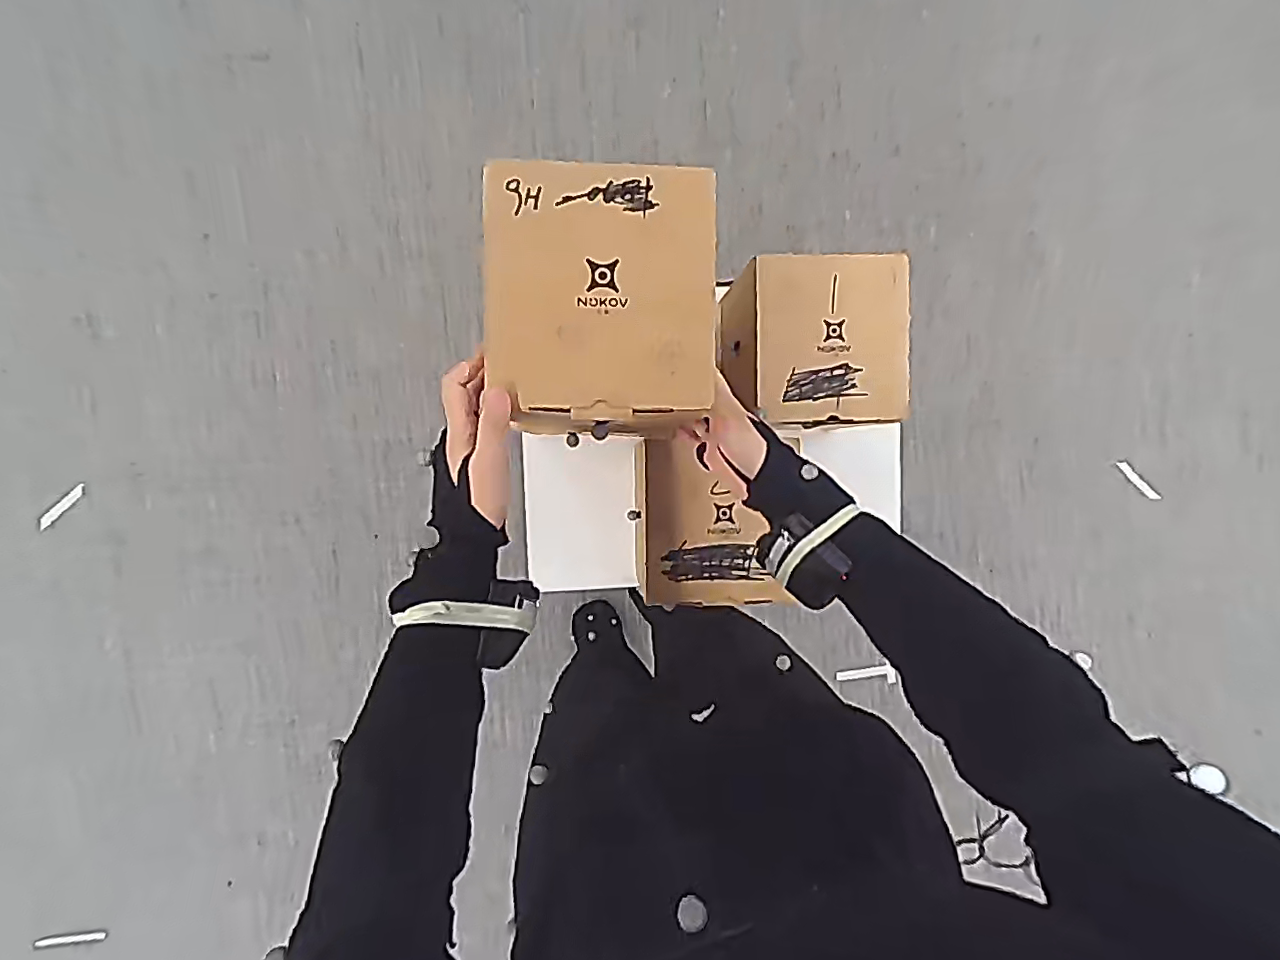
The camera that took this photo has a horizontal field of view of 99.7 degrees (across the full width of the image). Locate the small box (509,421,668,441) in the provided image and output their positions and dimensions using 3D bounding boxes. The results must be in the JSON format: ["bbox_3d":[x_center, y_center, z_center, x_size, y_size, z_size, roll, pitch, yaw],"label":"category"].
[{"bbox_3d":[-0.054,-0.135,0.626,0.168,0.176,0.179,1,92,-5],"label":"small box"}]

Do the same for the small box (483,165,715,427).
[{"bbox_3d":[-0.034,-0.135,0.463,0.168,0.176,0.179,0,93,-5],"label":"small box"}]
